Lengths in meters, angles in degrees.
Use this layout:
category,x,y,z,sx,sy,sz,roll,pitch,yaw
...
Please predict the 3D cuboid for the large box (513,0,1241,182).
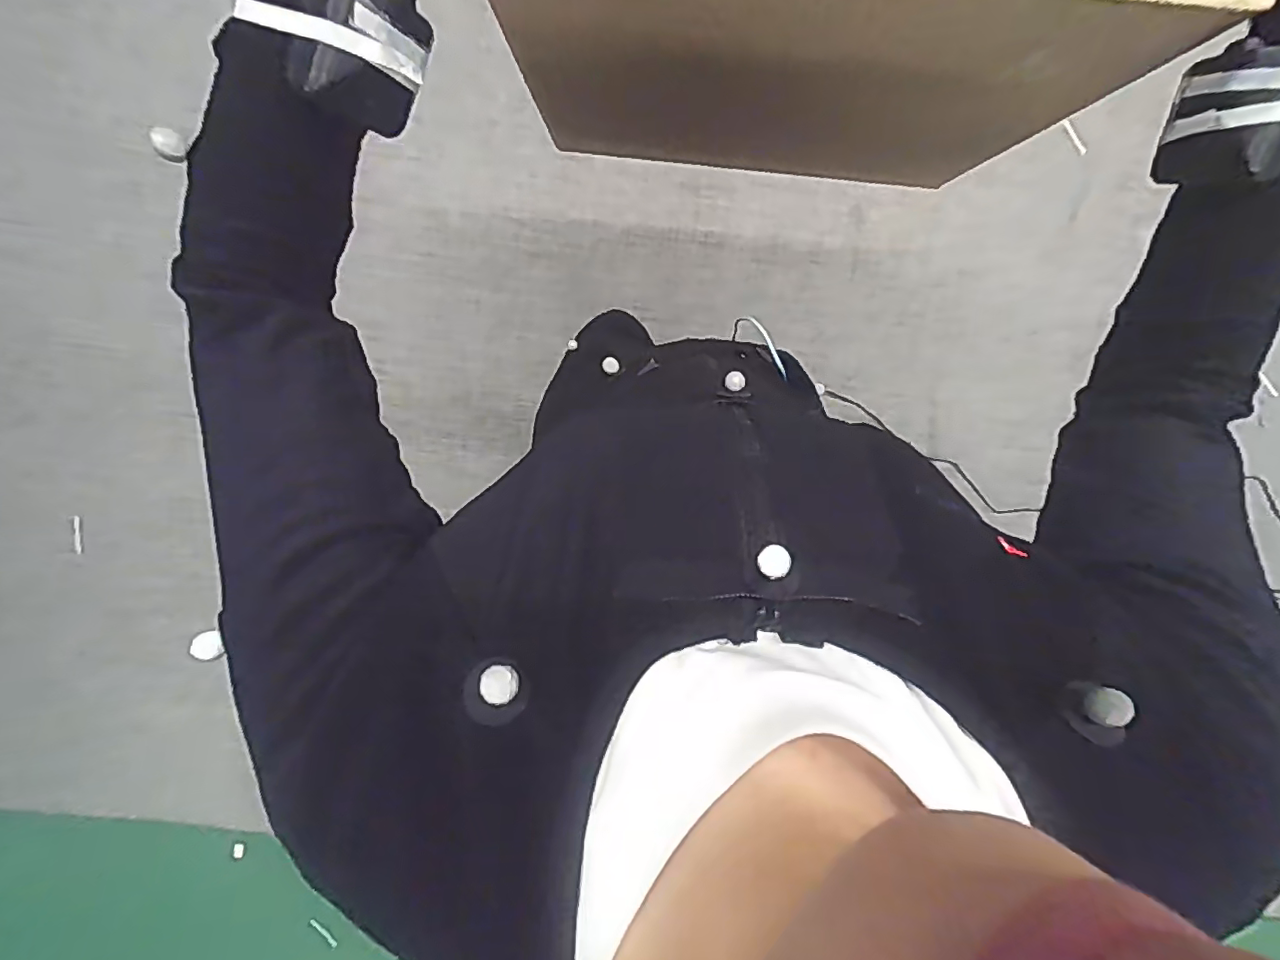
category,x,y,z,sx,sy,sz,roll,pitch,yaw
large box,0.127,-0.439,0.389,0.408,0.320,0.320,4,104,-2
